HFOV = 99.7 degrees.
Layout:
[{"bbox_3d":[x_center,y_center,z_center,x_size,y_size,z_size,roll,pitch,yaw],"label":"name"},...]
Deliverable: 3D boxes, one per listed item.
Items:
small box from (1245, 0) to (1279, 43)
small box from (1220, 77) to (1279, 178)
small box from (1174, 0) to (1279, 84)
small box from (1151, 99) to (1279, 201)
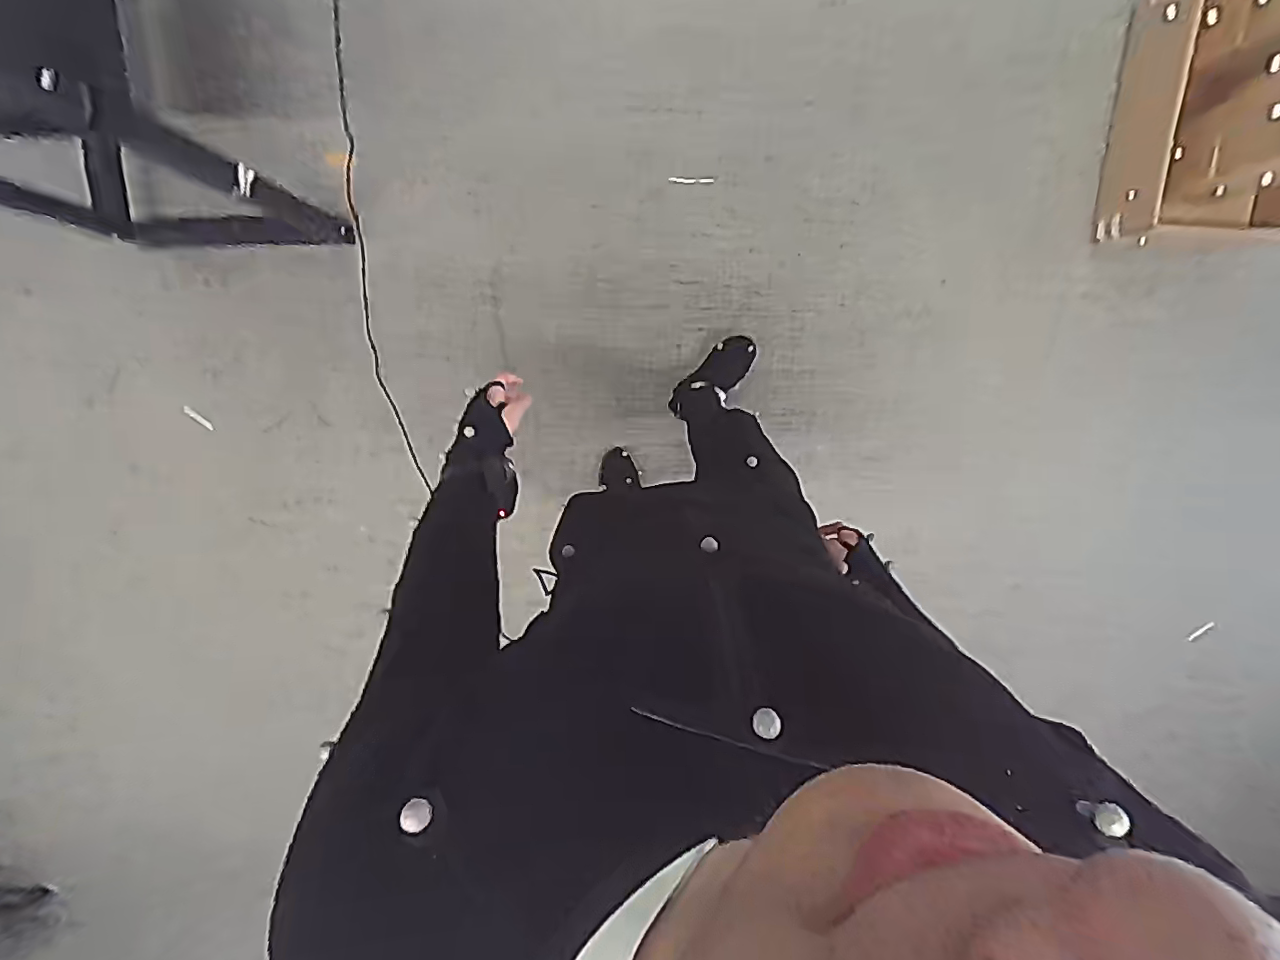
[{"bbox_3d":[1.464,-1.064,1.146,0.168,0.176,0.179,1,102,-2],"label":"small box"},{"bbox_3d":[1.453,-0.793,1.192,0.168,0.176,0.179,0,100,0],"label":"small box"},{"bbox_3d":[1.465,-1.093,1.309,0.179,0.176,0.168,1,100,0],"label":"small box"},{"bbox_3d":[1.452,-0.819,1.356,0.179,0.176,0.168,4,99,-2],"label":"small box"}]
